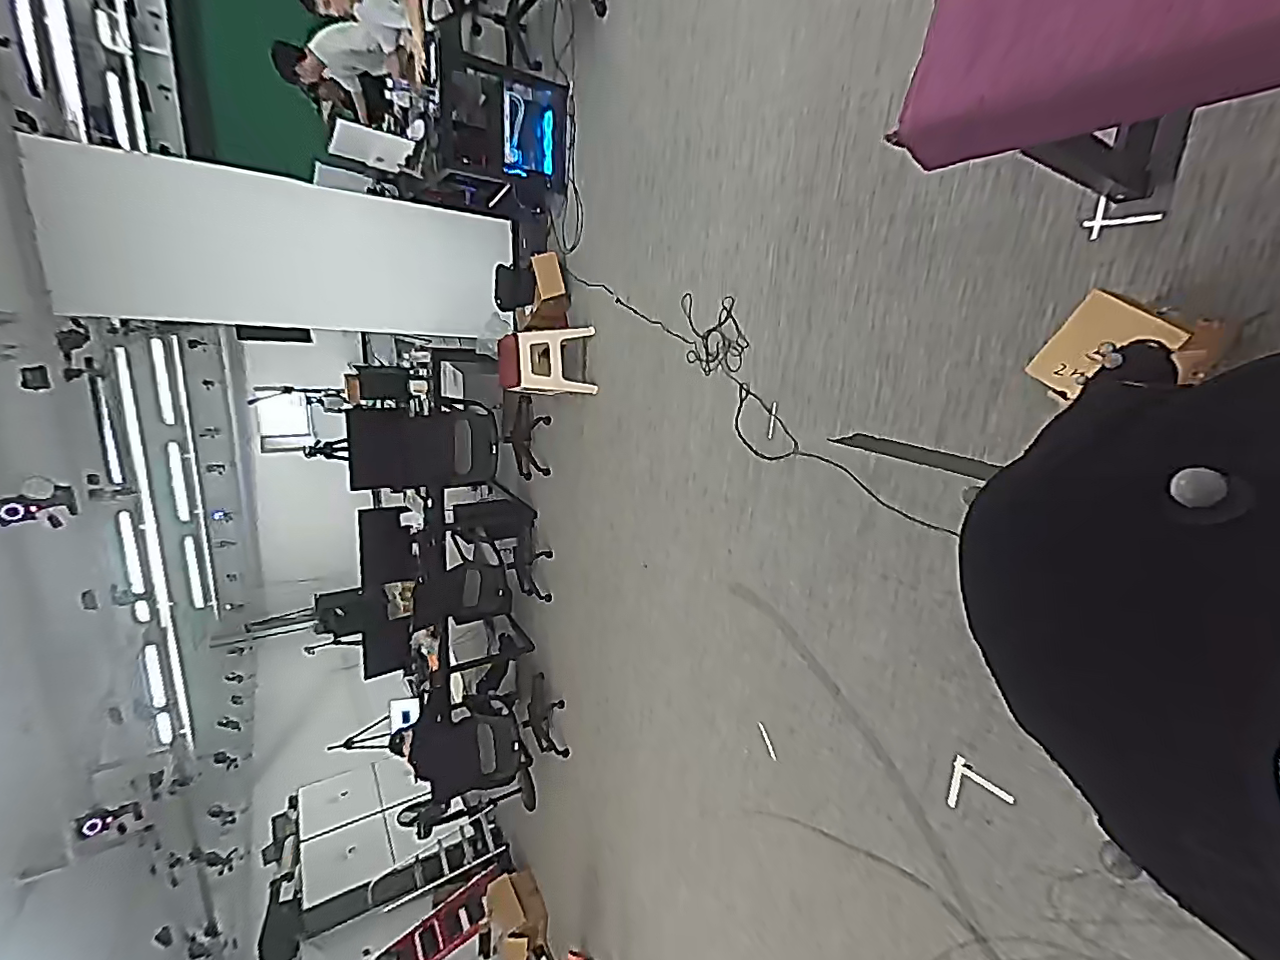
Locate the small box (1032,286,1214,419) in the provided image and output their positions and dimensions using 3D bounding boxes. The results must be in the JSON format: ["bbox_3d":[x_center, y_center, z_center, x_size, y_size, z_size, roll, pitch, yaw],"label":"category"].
[{"bbox_3d":[0.888,-0.233,0.994,0.168,0.176,0.179,56,139,36],"label":"small box"}]
